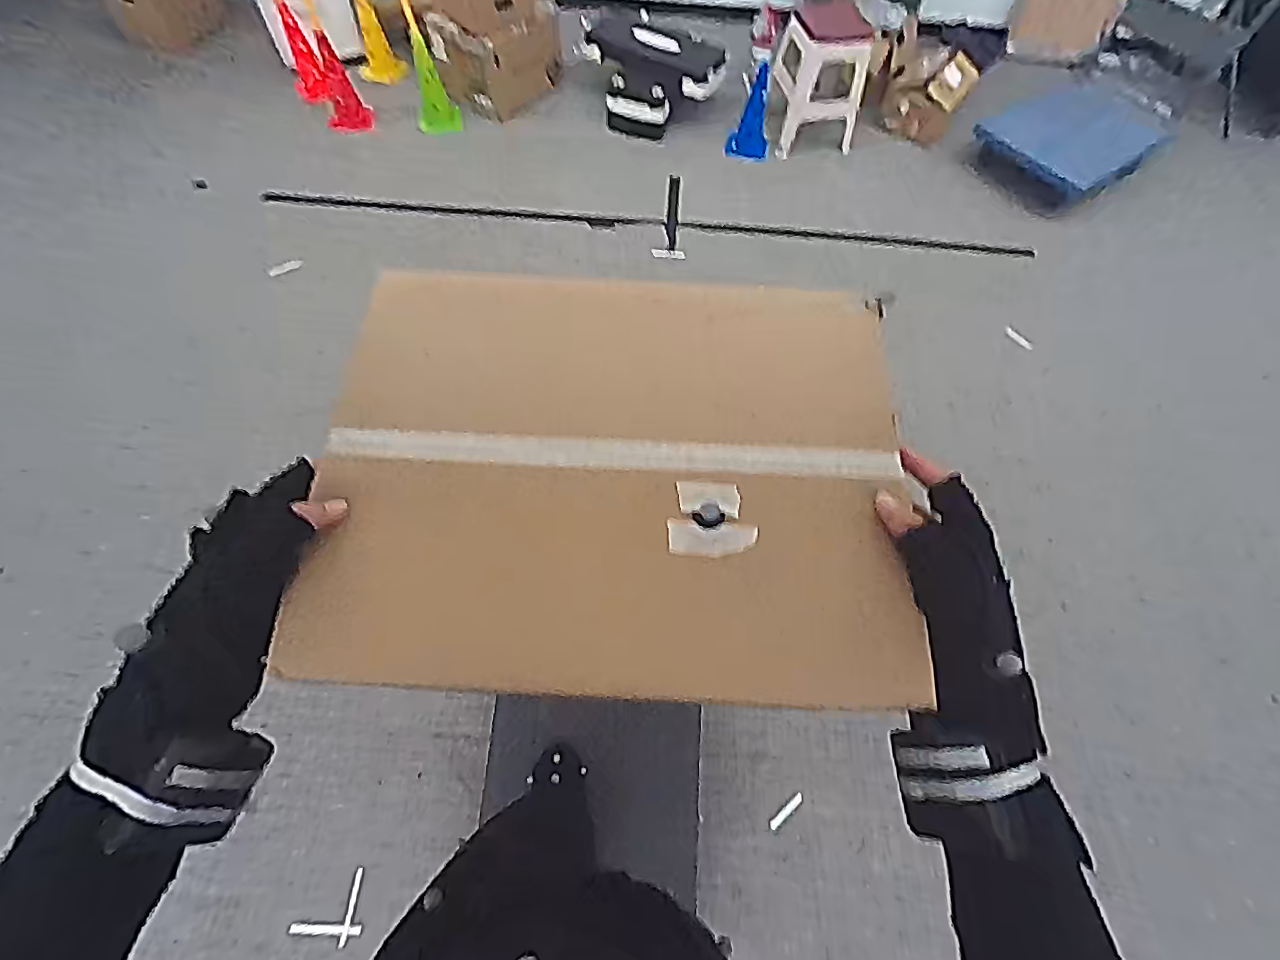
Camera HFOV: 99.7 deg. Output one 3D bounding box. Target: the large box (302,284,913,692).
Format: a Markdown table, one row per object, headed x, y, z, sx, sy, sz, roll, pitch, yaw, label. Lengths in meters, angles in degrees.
| x | y | z | sx | sy | sz | roll | pitch | yaw | label |
| --- | --- | --- | --- | --- | --- | --- | --- | --- | --- |
| -0.019 | 0.038 | 0.540 | 0.408 | 0.320 | 0.320 | 3 | 69 | 0 | large box |
